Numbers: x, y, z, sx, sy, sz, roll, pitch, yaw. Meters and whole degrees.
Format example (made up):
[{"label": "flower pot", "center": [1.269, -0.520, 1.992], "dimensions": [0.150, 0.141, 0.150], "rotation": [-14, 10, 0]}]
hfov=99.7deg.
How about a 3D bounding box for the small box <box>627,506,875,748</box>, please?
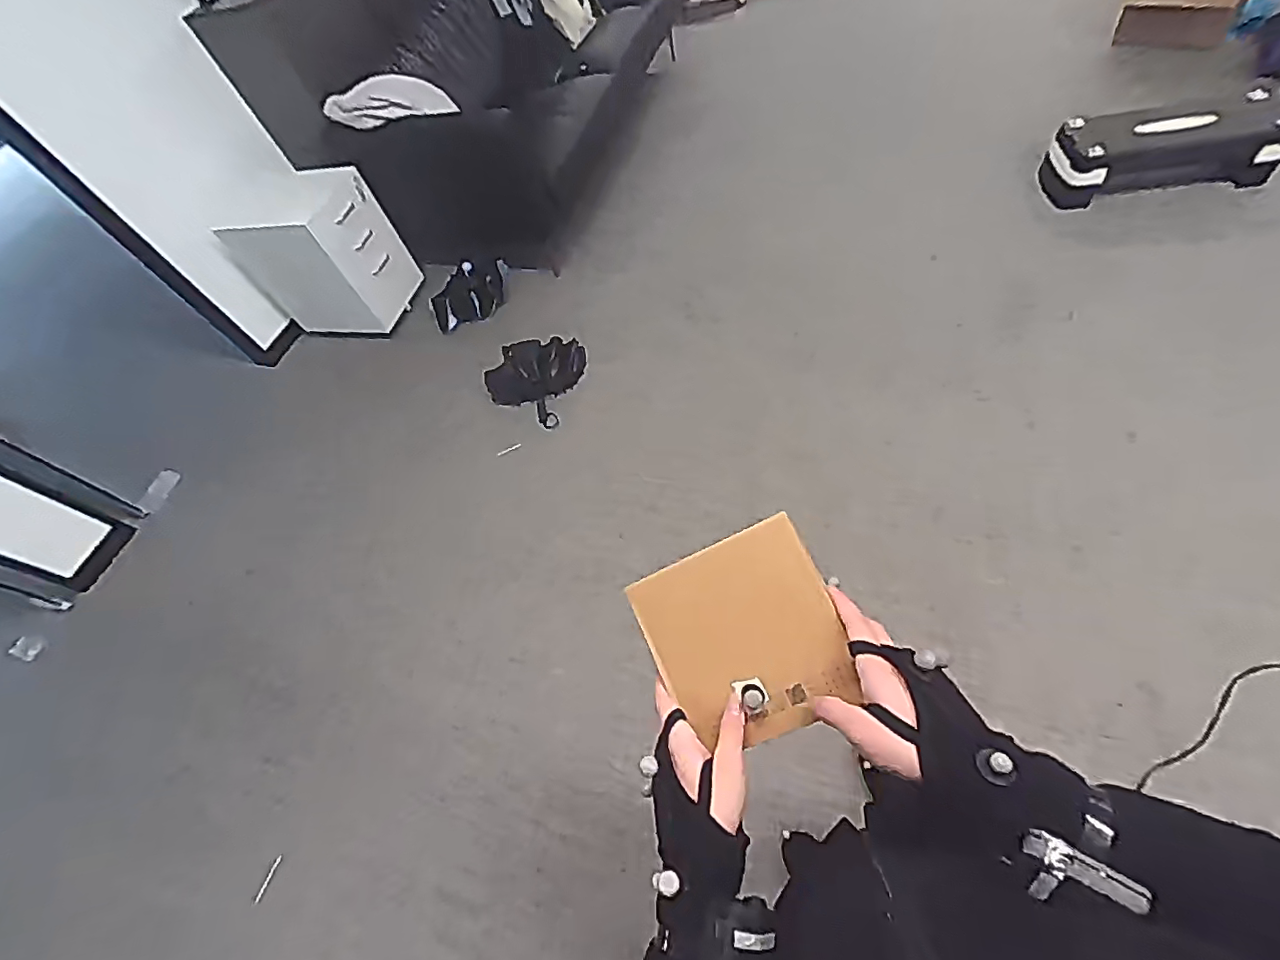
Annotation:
[{"label": "small box", "center": [0.114, 0.144, 0.550], "dimensions": [0.168, 0.179, 0.176], "rotation": [-29, 75, 11]}]
